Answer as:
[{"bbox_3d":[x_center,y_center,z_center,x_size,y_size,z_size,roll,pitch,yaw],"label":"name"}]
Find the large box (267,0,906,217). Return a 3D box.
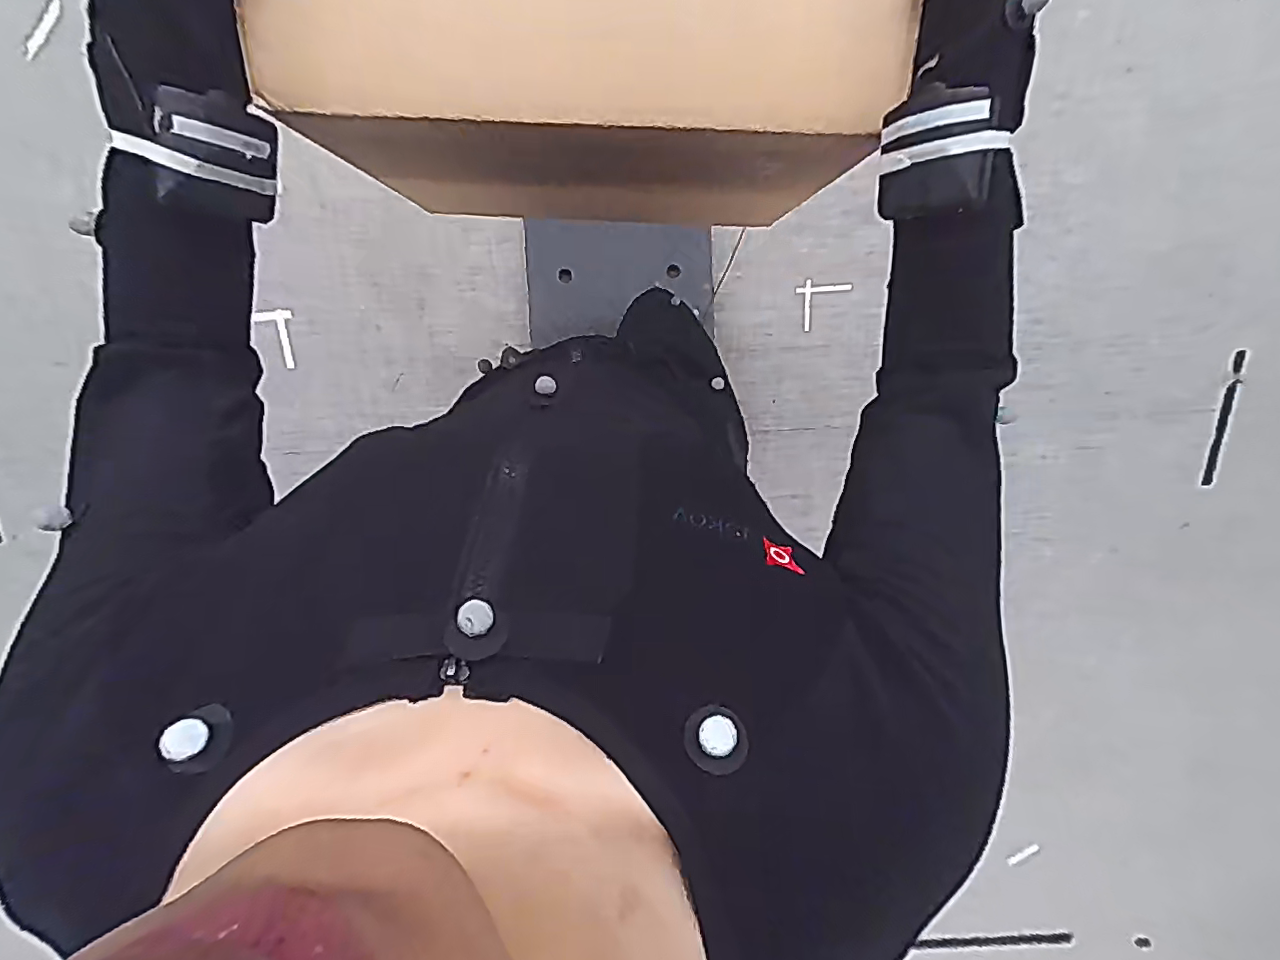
[{"bbox_3d":[-0.035,-0.422,0.456,0.408,0.320,0.320,1,106,-3],"label":"large box"}]
